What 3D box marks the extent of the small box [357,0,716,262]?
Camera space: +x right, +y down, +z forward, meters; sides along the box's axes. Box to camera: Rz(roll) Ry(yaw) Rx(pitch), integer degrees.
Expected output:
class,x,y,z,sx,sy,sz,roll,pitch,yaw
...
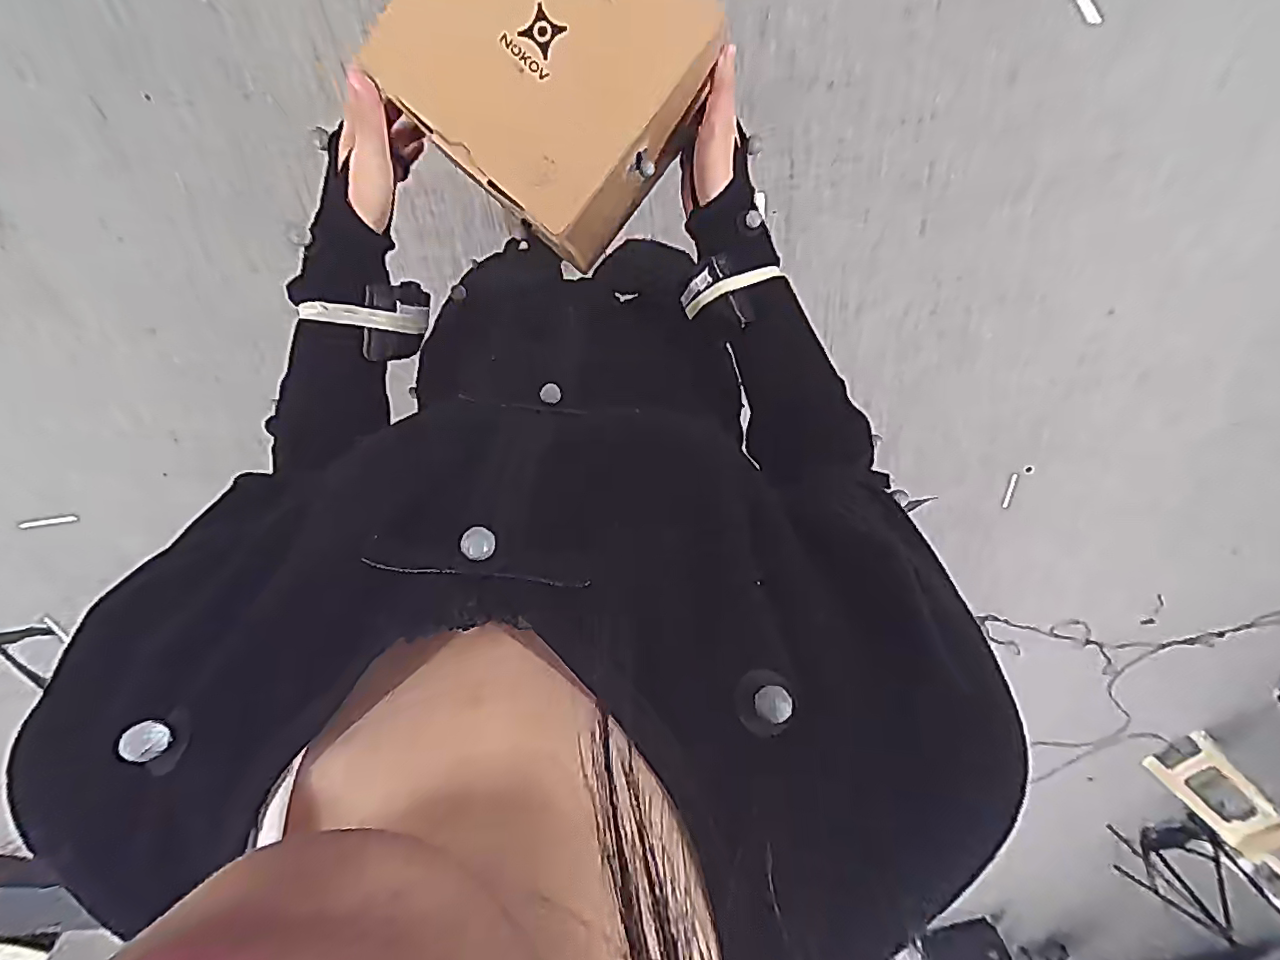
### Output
class,x,y,z,sx,sy,sz,roll,pitch,yaw
small box,-0.065,-0.297,0.416,0.168,0.176,0.179,37,100,-7

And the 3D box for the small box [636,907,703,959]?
class,x,y,z,sx,sy,sz,roll,pitch,yaw
small box,0.092,1.384,1.579,0.179,0.176,0.168,-10,123,-1
